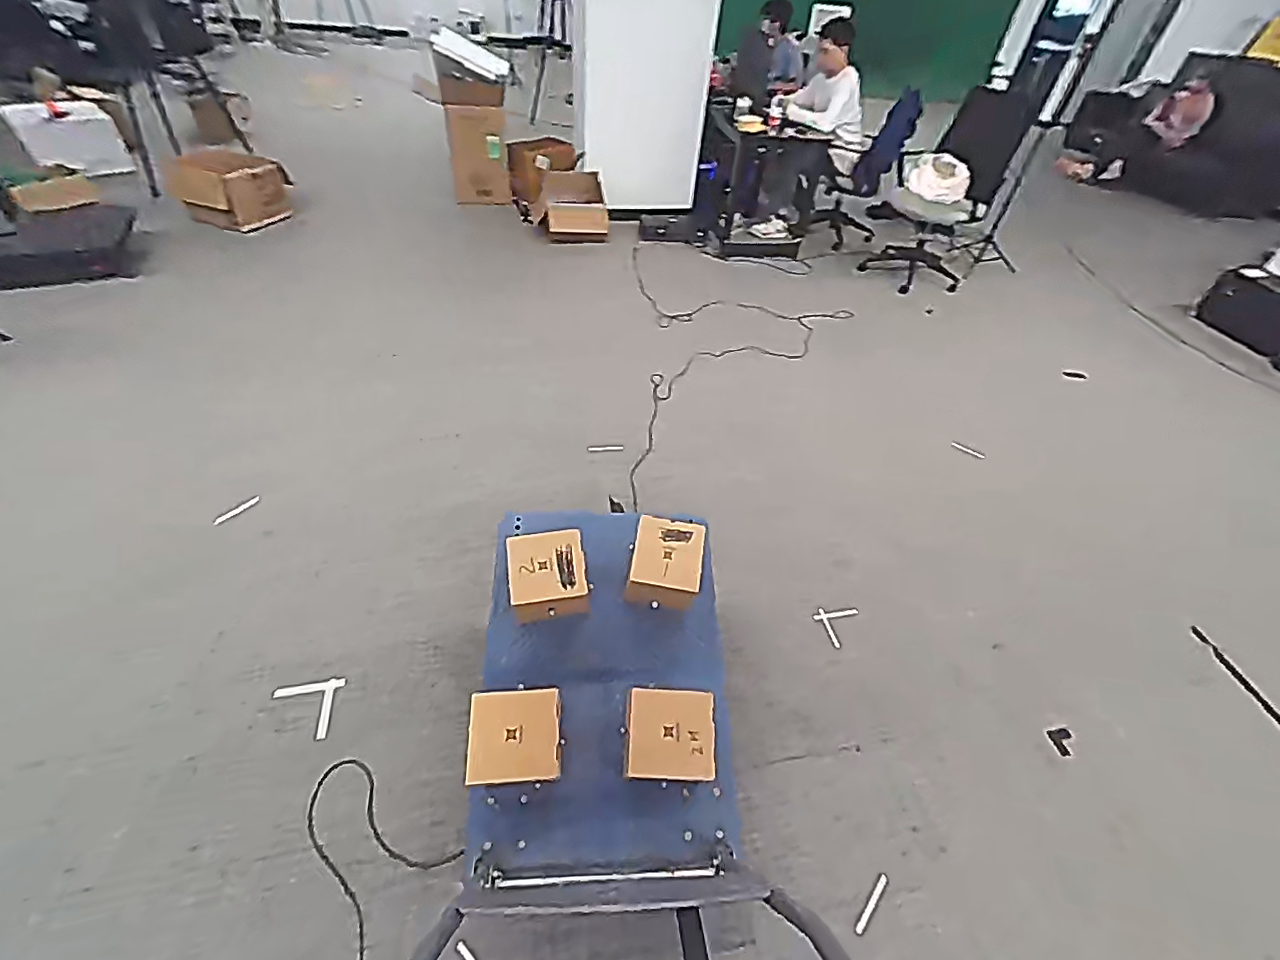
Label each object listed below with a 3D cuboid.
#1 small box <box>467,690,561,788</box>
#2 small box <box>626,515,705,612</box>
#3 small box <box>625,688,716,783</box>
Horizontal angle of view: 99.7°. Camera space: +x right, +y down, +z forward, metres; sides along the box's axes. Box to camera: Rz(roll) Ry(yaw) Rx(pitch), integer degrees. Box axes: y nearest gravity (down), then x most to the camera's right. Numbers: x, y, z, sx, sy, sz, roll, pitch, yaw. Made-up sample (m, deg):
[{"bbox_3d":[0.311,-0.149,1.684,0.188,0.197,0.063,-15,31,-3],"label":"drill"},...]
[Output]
[{"bbox_3d":[-0.256,0.546,1.135,0.179,0.176,0.168,-1,60,-9],"label":"small box"},{"bbox_3d":[0.061,0.214,1.360,0.168,0.176,0.179,10,61,0],"label":"small box"},{"bbox_3d":[0.060,0.553,1.165,0.179,0.176,0.168,5,60,-4],"label":"small box"}]
